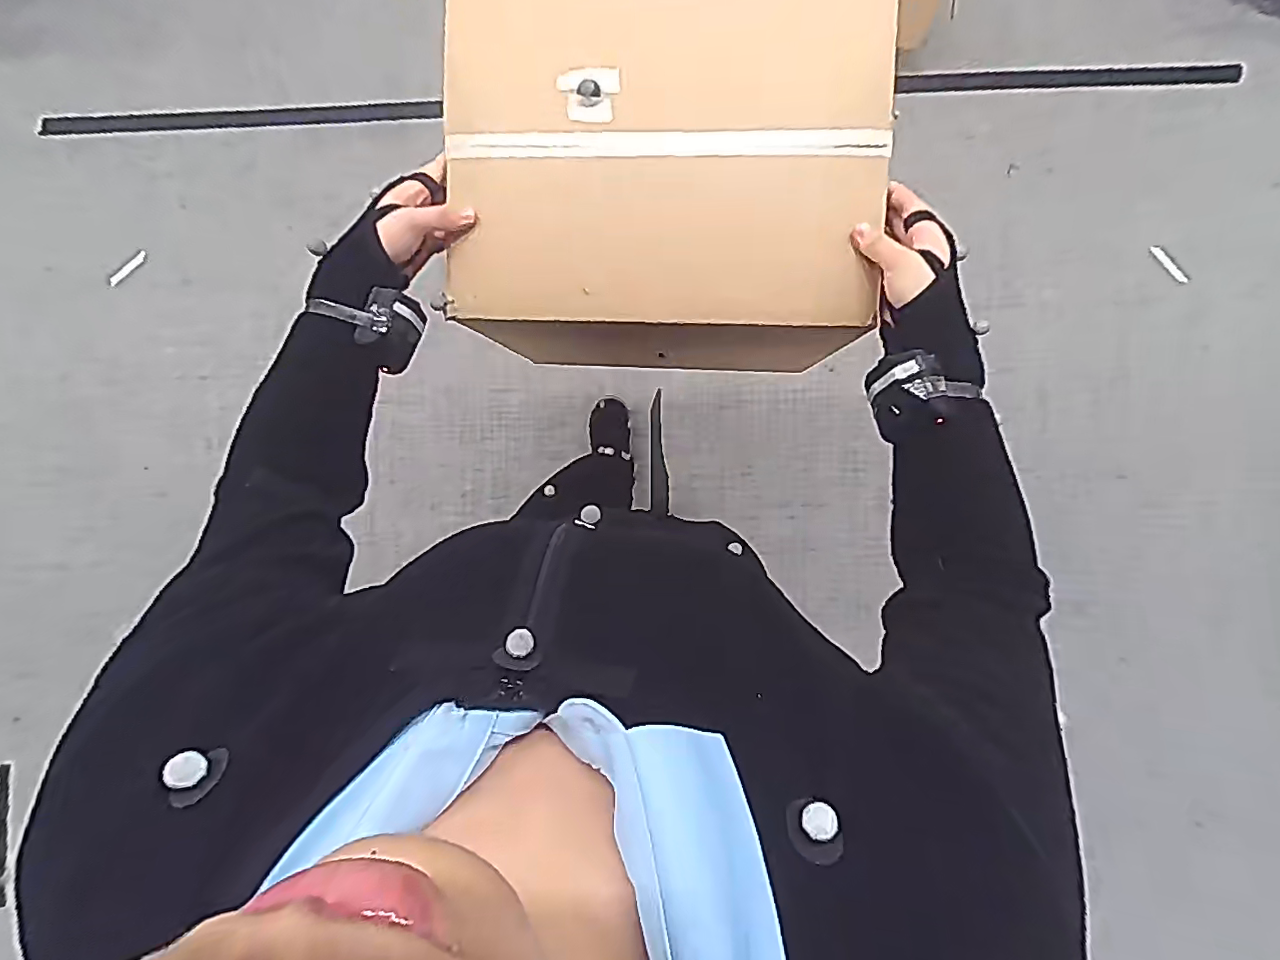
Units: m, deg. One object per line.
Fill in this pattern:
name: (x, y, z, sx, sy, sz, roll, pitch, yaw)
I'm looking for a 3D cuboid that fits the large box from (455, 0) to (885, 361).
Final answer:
large box: (0.035, -0.319, 0.652, 0.408, 0.320, 0.320, 2, 93, 5)
